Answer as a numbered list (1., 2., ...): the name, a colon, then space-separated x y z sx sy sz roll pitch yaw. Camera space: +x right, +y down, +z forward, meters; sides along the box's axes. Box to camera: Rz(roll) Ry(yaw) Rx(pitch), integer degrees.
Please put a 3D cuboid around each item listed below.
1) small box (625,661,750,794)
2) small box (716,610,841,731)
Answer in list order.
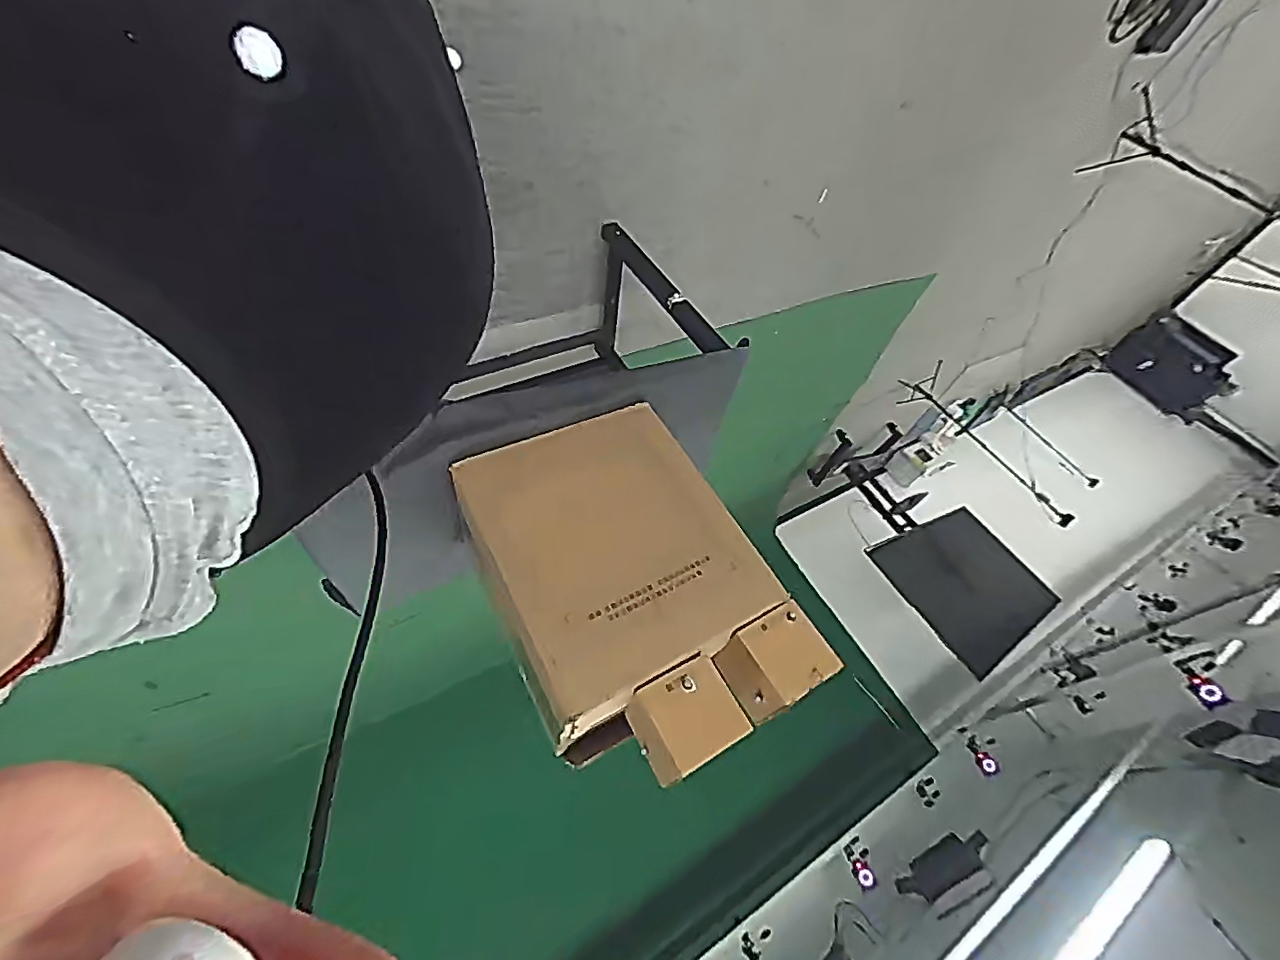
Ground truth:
1. small box: 0.084 0.488 1.075 0.168 0.176 0.179 -22 150 -24
2. small box: 0.289 0.405 1.169 0.168 0.176 0.179 -21 152 -26
